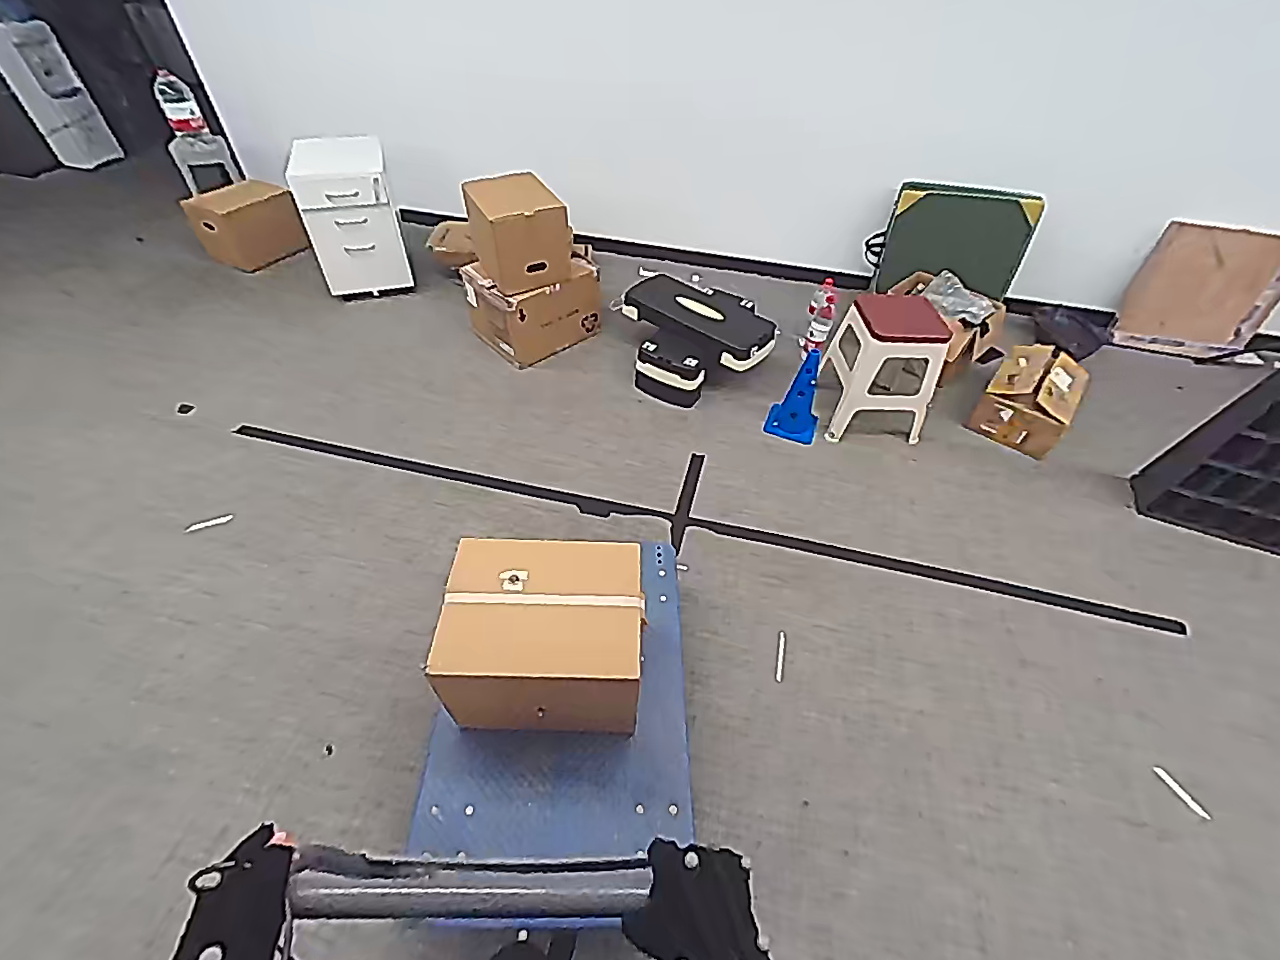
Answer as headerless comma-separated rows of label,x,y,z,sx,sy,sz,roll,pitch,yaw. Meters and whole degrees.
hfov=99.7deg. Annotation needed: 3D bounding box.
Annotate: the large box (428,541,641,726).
large box,-0.203,0.352,1.223,0.408,0.320,0.320,2,48,-1
